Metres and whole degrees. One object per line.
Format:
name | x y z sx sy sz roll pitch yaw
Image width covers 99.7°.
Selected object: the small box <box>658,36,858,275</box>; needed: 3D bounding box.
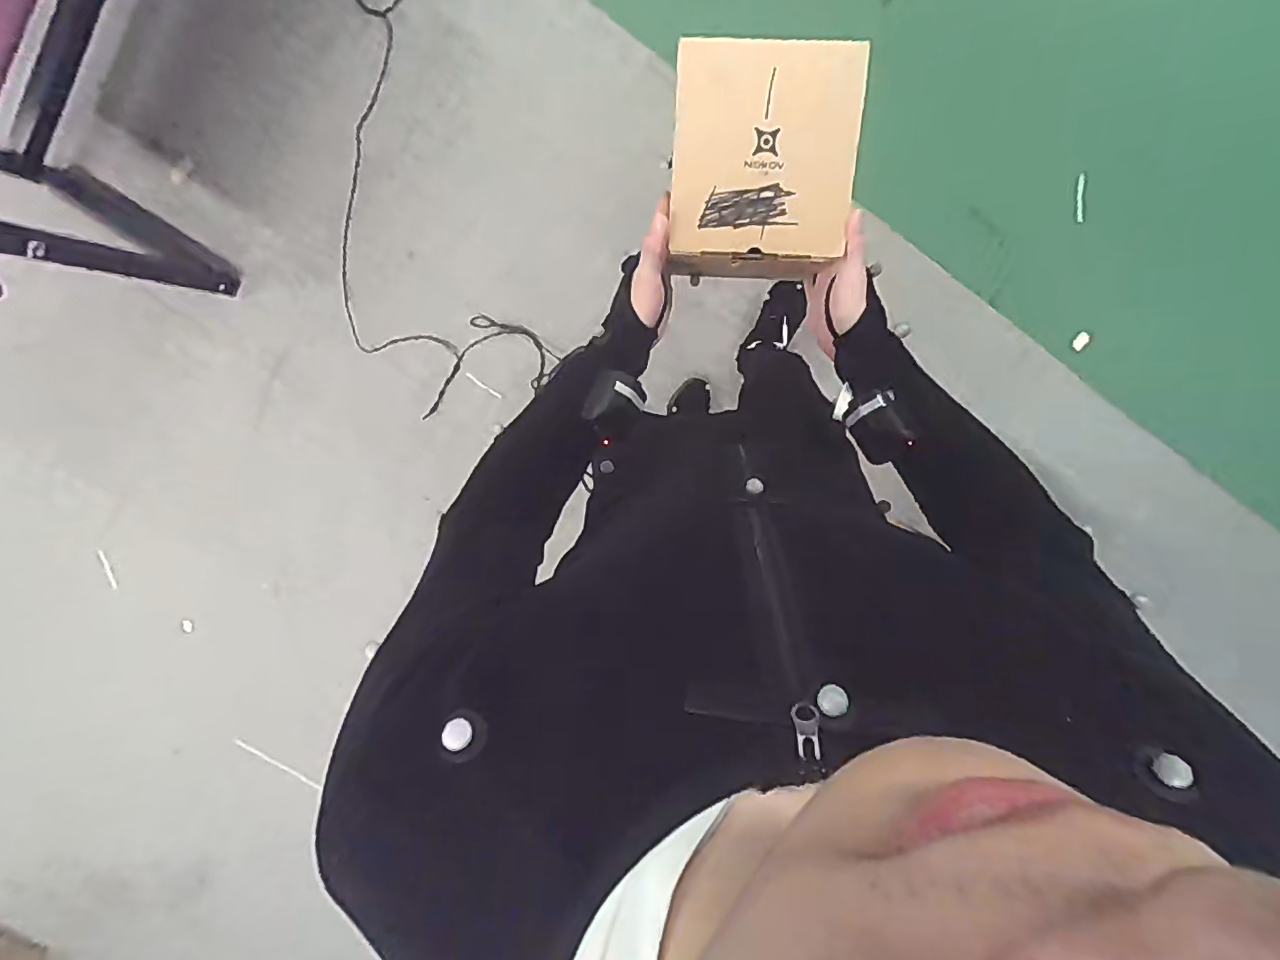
small box | 0.106 -0.313 0.559 0.168 0.176 0.179 2 103 3
